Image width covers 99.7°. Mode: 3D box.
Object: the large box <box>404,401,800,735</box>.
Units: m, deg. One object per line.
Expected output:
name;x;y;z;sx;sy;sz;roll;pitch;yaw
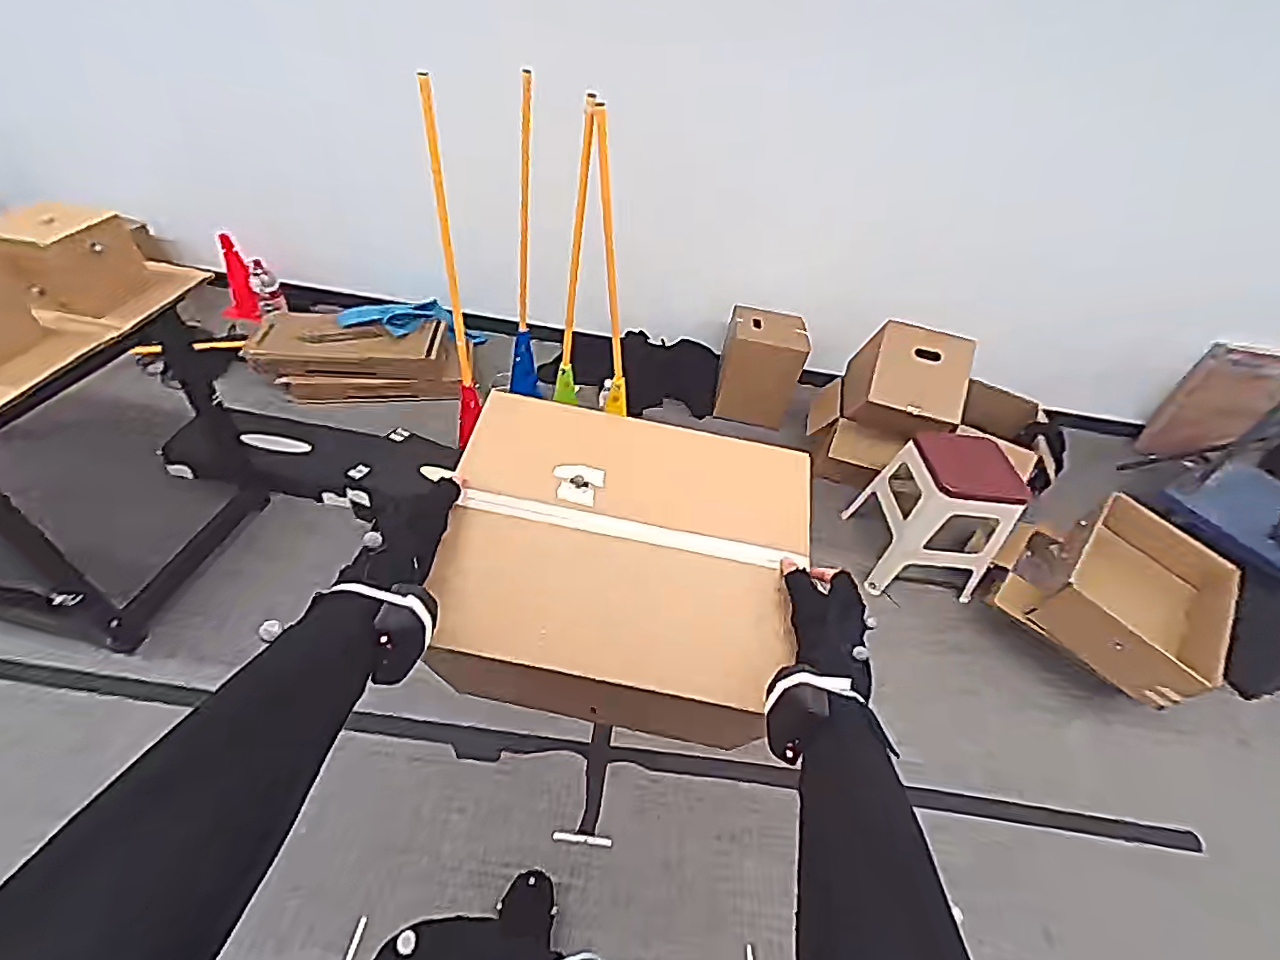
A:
large box;-0.027;0.137;0.735;0.408;0.320;0.320;11;58;1
